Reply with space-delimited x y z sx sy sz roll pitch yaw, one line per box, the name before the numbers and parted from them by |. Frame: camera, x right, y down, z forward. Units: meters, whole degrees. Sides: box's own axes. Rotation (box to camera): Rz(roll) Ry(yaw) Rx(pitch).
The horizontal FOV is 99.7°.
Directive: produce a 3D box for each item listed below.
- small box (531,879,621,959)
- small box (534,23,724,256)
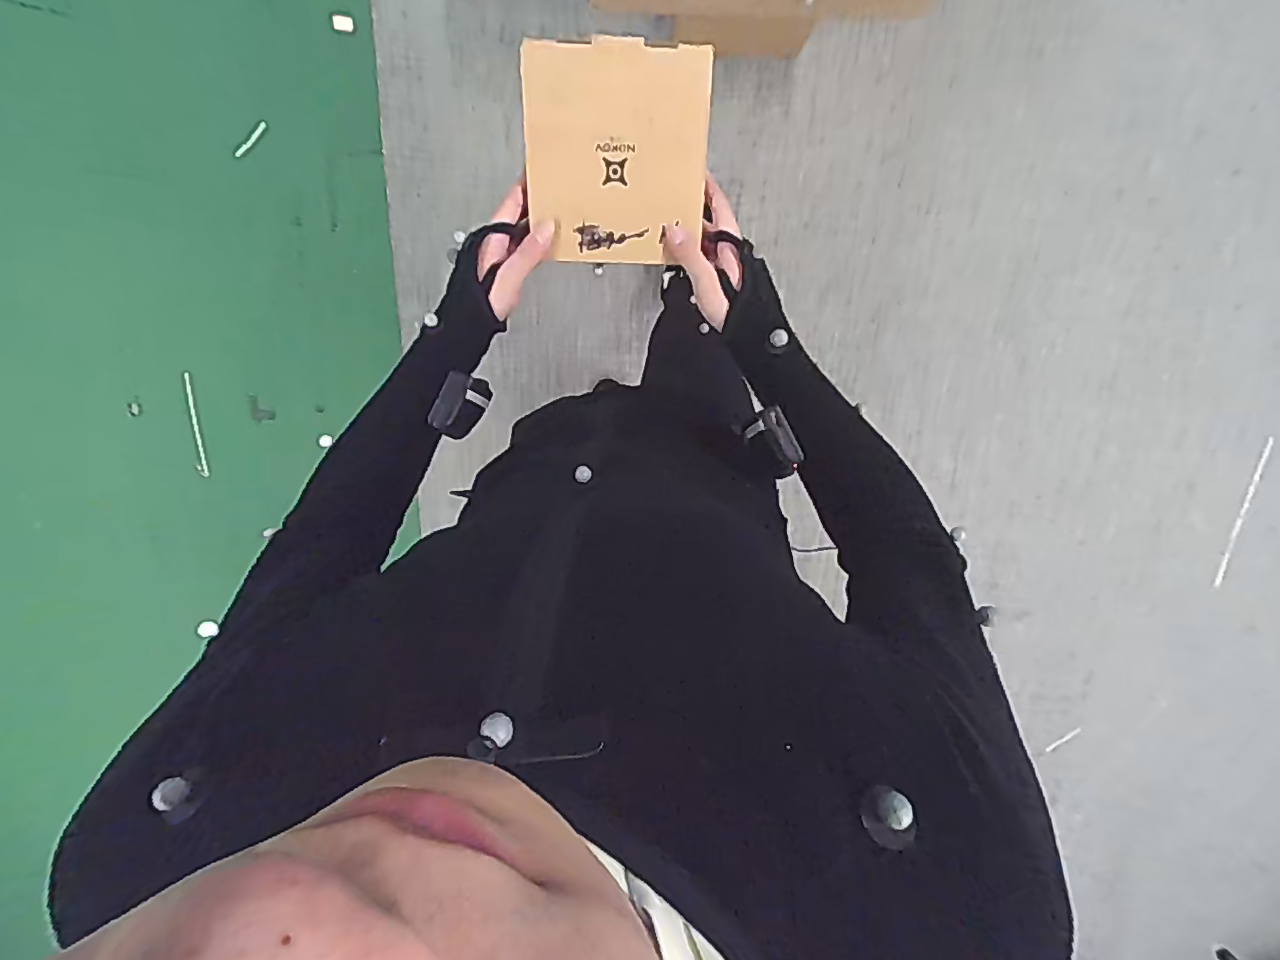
small box | -0.125 0.970 1.114 0.168 0.176 0.179 0 108 1
small box | -0.014 -0.333 0.561 0.168 0.176 0.179 2 115 -1
